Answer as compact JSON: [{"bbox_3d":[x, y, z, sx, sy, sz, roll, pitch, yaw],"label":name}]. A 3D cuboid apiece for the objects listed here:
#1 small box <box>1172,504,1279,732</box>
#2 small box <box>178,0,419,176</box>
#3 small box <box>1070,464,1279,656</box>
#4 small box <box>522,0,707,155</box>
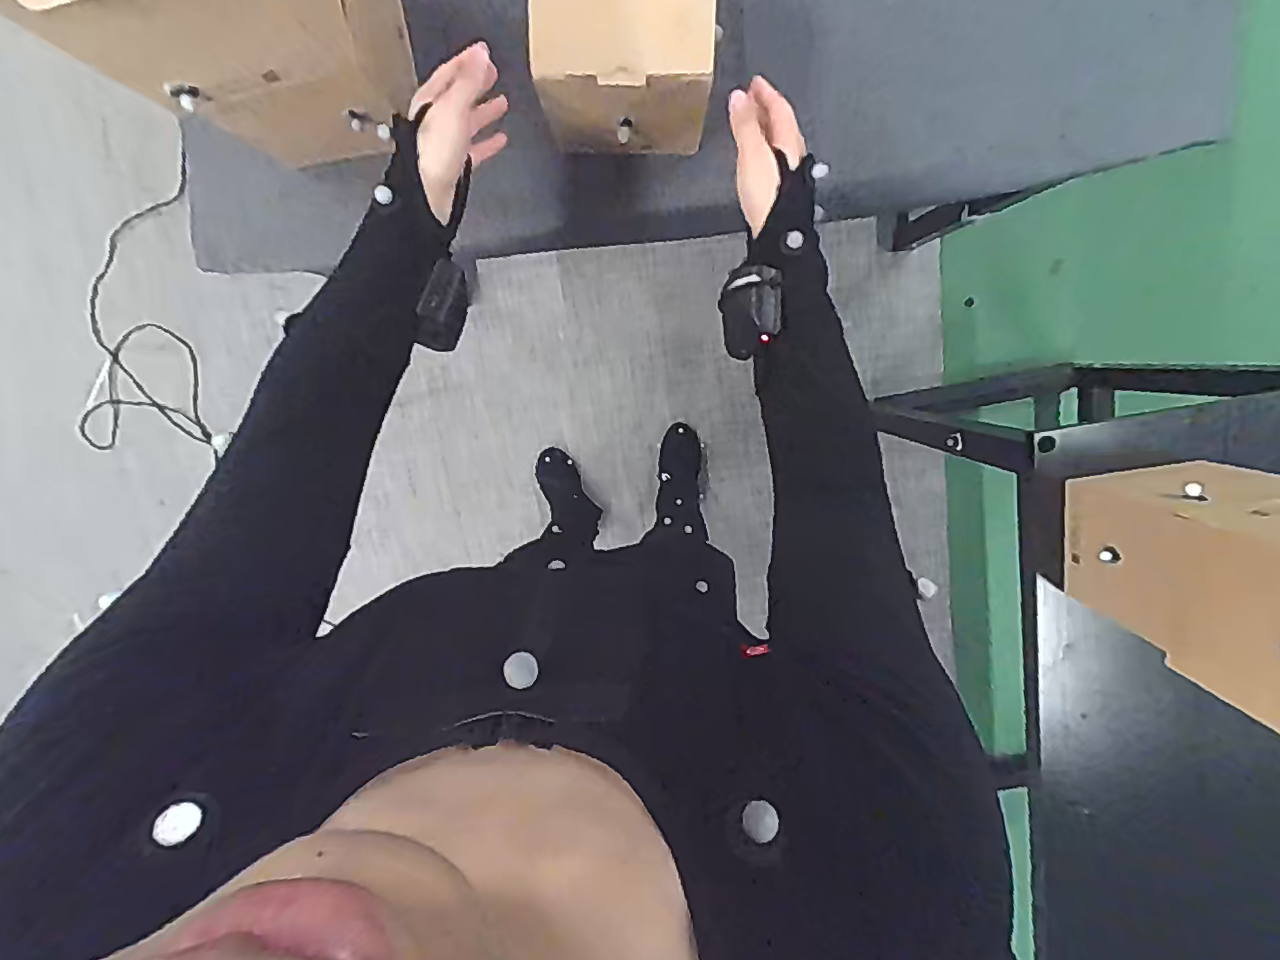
[{"bbox_3d":[0.634,0.128,0.482,0.168,0.176,0.179,-9,102,4],"label":"small box"},{"bbox_3d":[-0.350,-0.441,0.557,0.179,0.176,0.168,-9,100,4],"label":"small box"},{"bbox_3d":[0.653,0.085,0.638,0.179,0.176,0.168,-9,103,3],"label":"small box"},{"bbox_3d":[-0.018,-0.450,0.544,0.168,0.176,0.179,1,101,2],"label":"small box"}]
